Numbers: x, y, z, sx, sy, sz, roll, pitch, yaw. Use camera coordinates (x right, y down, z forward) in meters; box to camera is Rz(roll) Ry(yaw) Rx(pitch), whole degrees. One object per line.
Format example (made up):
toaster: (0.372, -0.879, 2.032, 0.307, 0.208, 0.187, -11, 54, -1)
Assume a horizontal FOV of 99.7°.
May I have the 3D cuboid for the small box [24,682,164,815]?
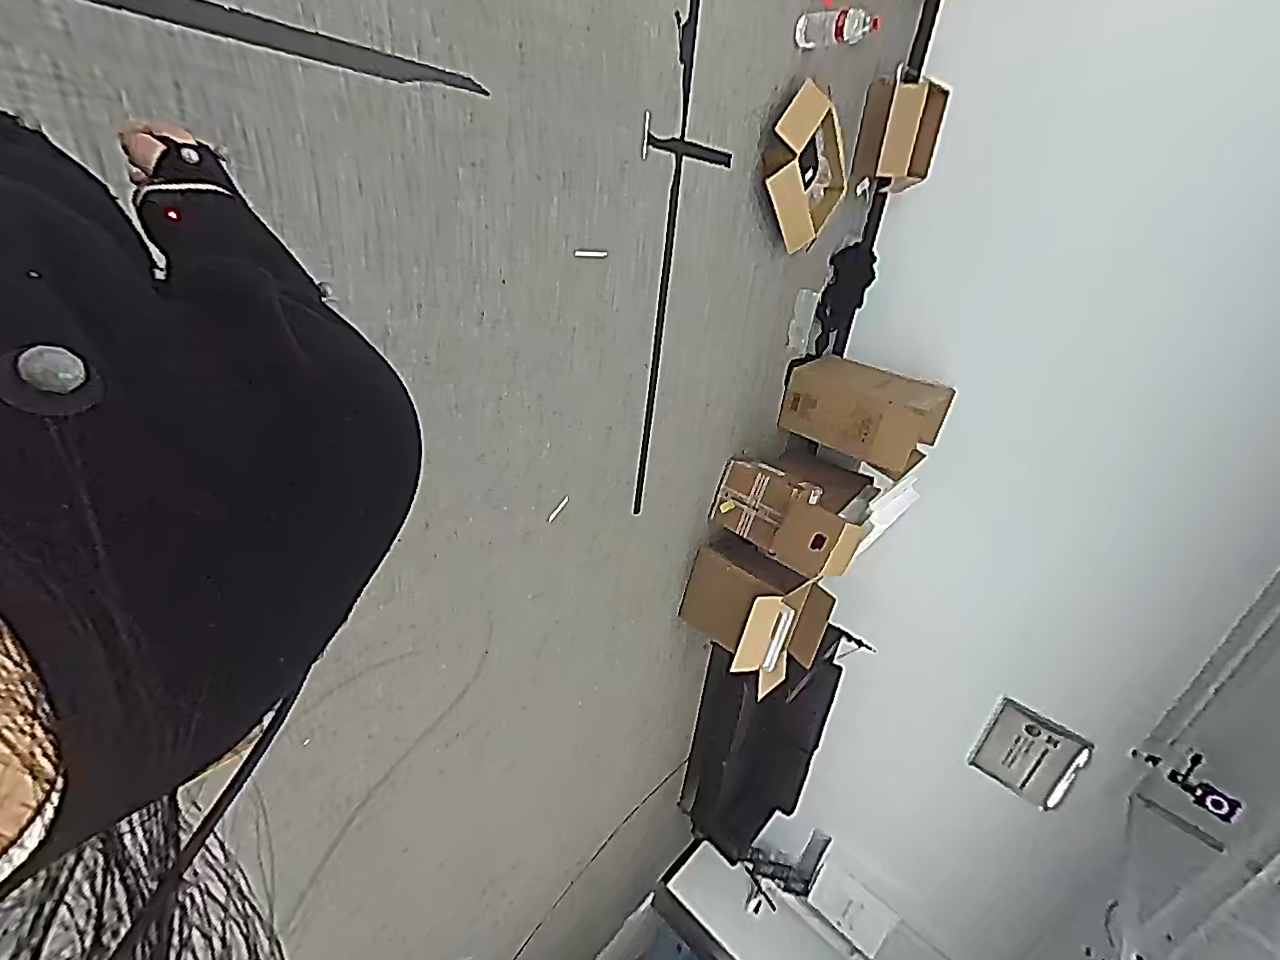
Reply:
small box: (-1.242, 0.604, 1.235, 0.168, 0.176, 0.179, -32, 134, -38)
